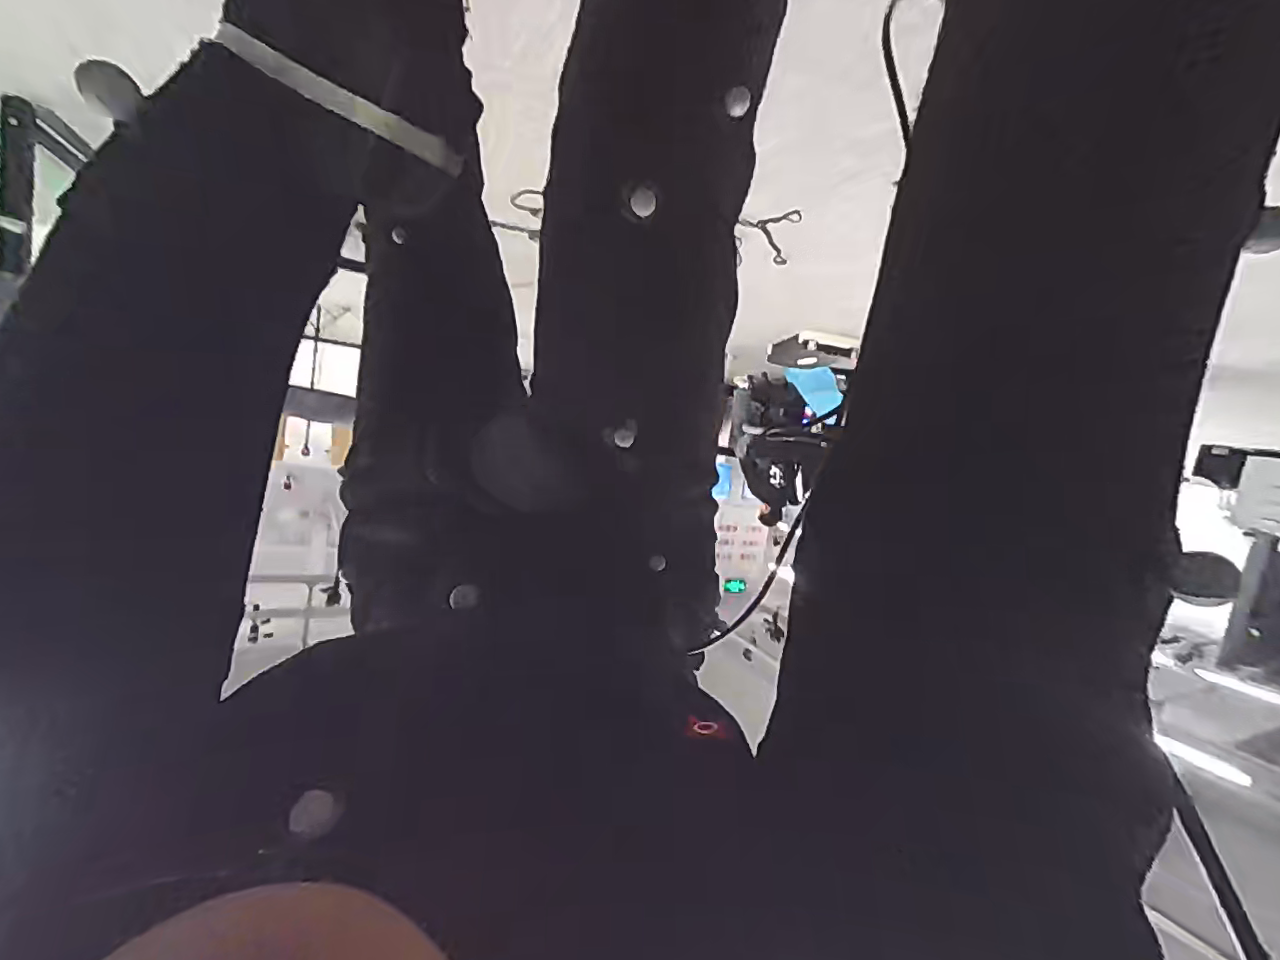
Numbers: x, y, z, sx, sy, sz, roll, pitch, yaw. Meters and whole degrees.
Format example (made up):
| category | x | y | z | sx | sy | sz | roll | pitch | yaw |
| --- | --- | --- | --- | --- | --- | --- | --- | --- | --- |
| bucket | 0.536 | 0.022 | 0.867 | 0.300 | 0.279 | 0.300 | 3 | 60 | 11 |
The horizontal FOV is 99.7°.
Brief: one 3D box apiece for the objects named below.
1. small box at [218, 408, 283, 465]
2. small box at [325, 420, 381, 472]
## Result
| category | x | y | z | sx | sy | sz | roll | pitch | yaw |
| --- | --- | --- | --- | --- | --- | --- | --- | --- | --- |
| small box | -1.322 | -0.151 | 1.842 | 0.168 | 0.176 | 0.179 | 4 | -173 | -32 |
| small box | -1.070 | -0.129 | 2.012 | 0.168 | 0.176 | 0.179 | 5 | -172 | -33 |
